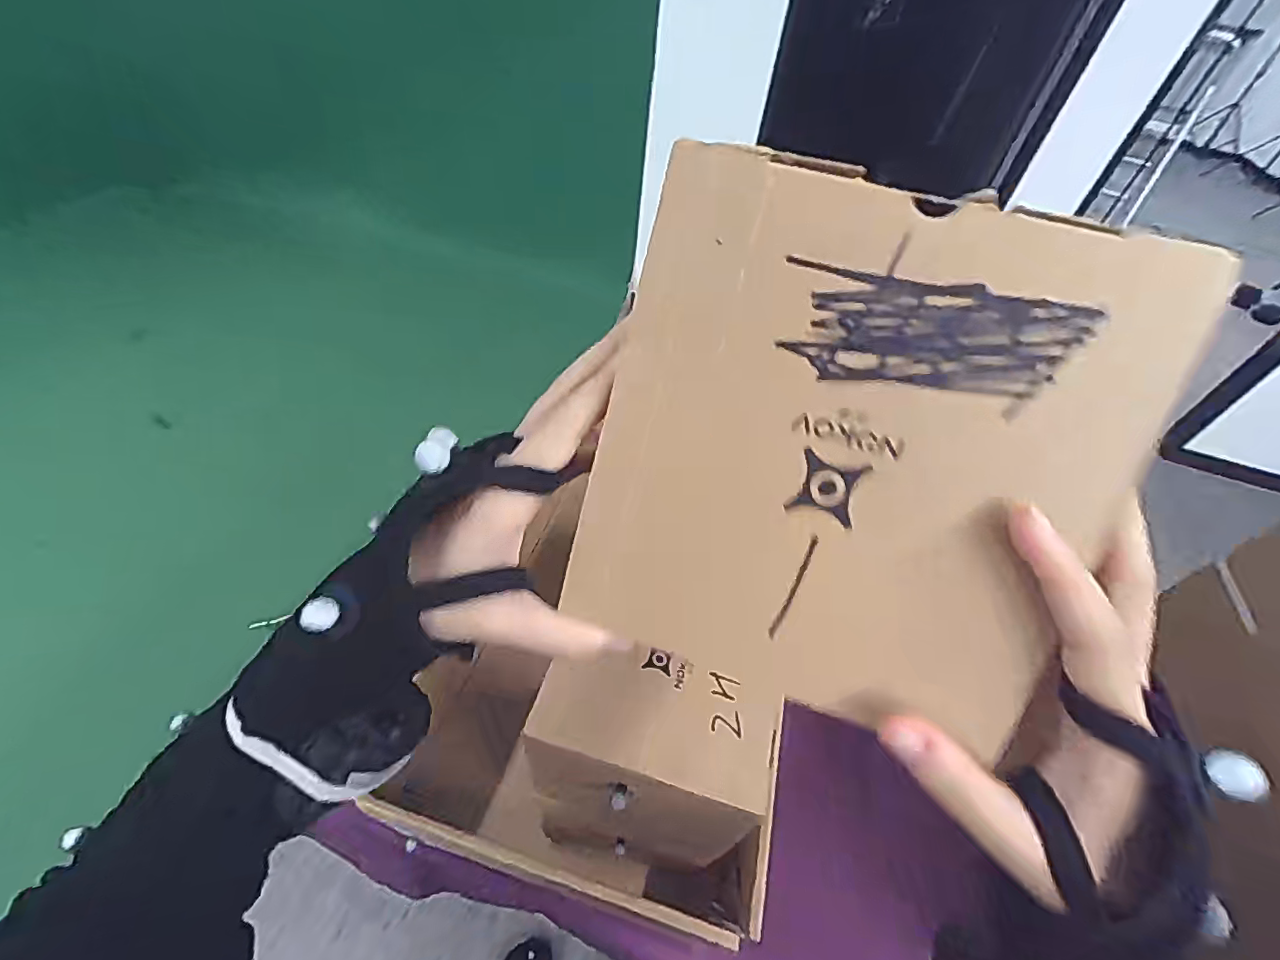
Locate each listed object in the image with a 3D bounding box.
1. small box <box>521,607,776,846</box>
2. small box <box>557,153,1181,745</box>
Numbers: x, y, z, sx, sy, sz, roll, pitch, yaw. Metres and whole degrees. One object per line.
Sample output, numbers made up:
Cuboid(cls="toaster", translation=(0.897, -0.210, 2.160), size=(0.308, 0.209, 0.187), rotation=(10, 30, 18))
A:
Cuboid(cls="small box", translation=(0.013, 0.198, 0.482), size=(0.179, 0.176, 0.168), rotation=(16, 49, 8))
Cuboid(cls="small box", translation=(0.080, -0.020, 0.268), size=(0.168, 0.179, 0.176), rotation=(18, 13, 9))
